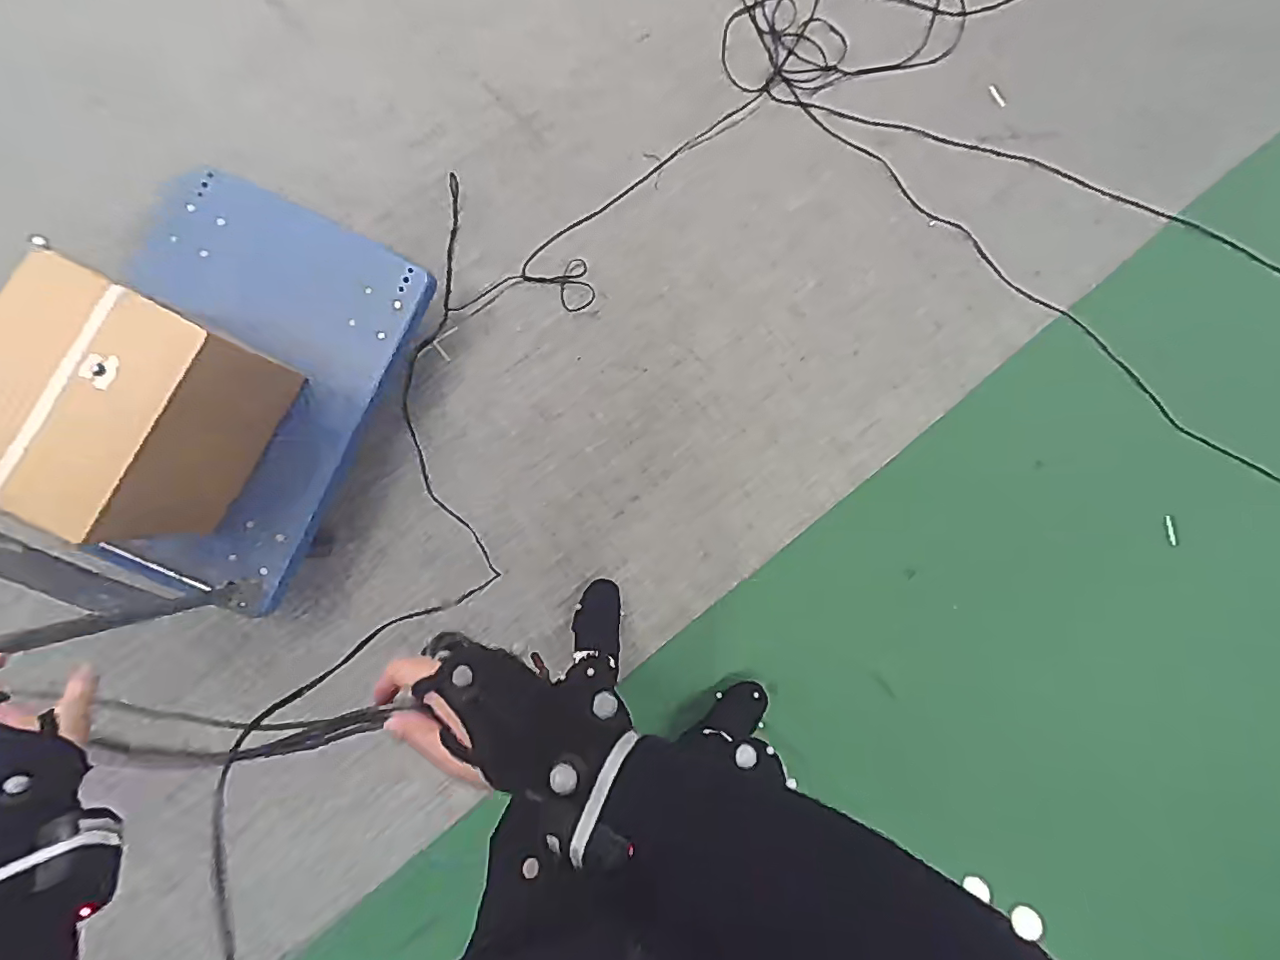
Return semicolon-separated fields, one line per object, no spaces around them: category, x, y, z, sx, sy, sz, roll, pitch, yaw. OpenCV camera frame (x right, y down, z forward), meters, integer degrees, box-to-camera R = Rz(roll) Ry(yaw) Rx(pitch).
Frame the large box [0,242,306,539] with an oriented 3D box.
large box;-0.941;-0.136;1.019;0.320;0.320;0.408;29;85;-3
